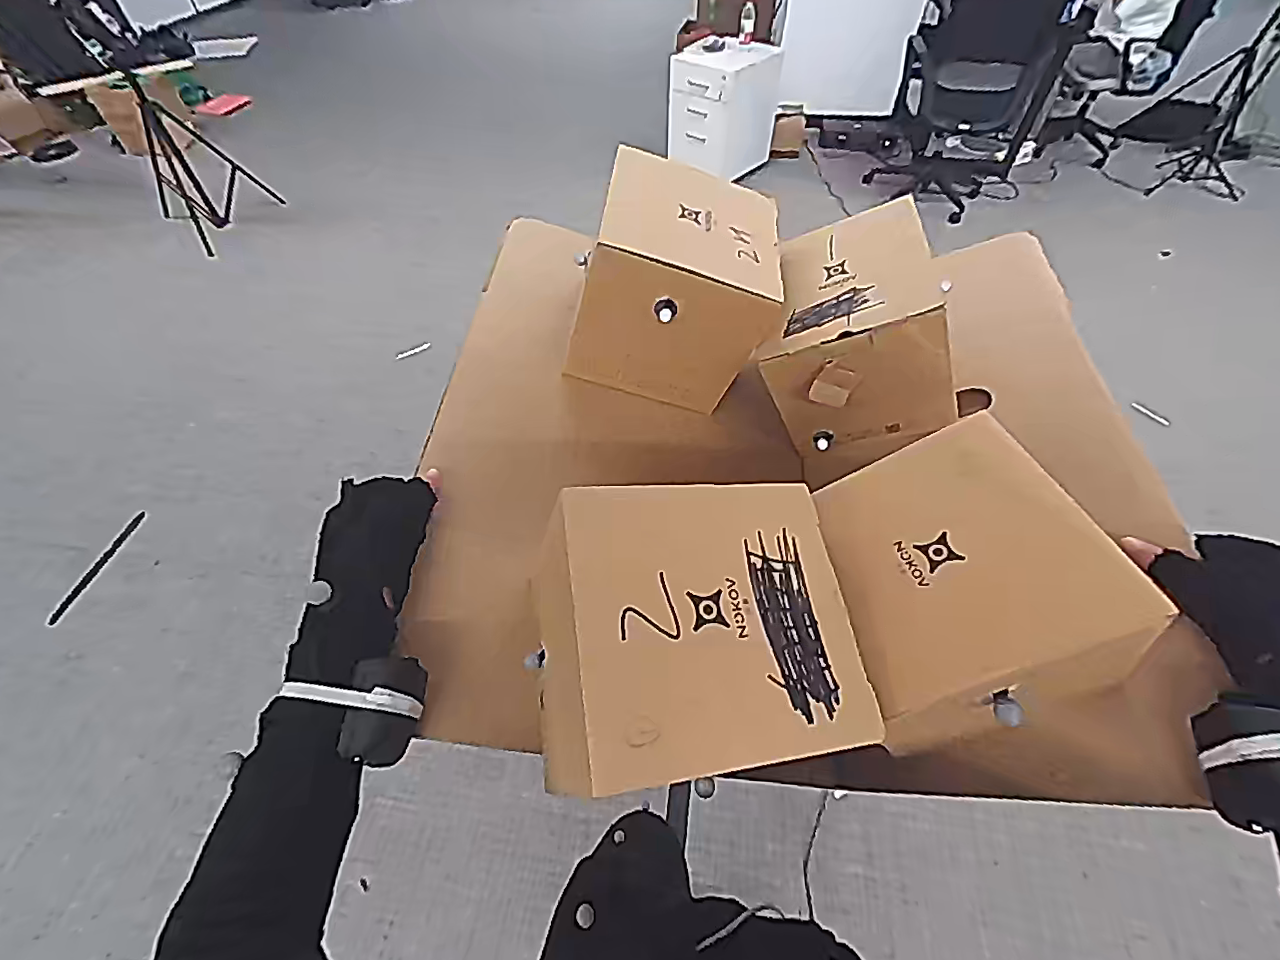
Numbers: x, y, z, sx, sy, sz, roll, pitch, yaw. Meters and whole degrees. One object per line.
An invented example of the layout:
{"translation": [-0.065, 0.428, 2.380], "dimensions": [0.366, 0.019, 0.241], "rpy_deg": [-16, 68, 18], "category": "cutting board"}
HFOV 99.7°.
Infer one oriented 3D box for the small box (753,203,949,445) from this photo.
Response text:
{"translation": [0.232, -0.156, 0.600], "dimensions": [0.168, 0.176, 0.179], "rpy_deg": [-12, 51, 27], "category": "small box"}
